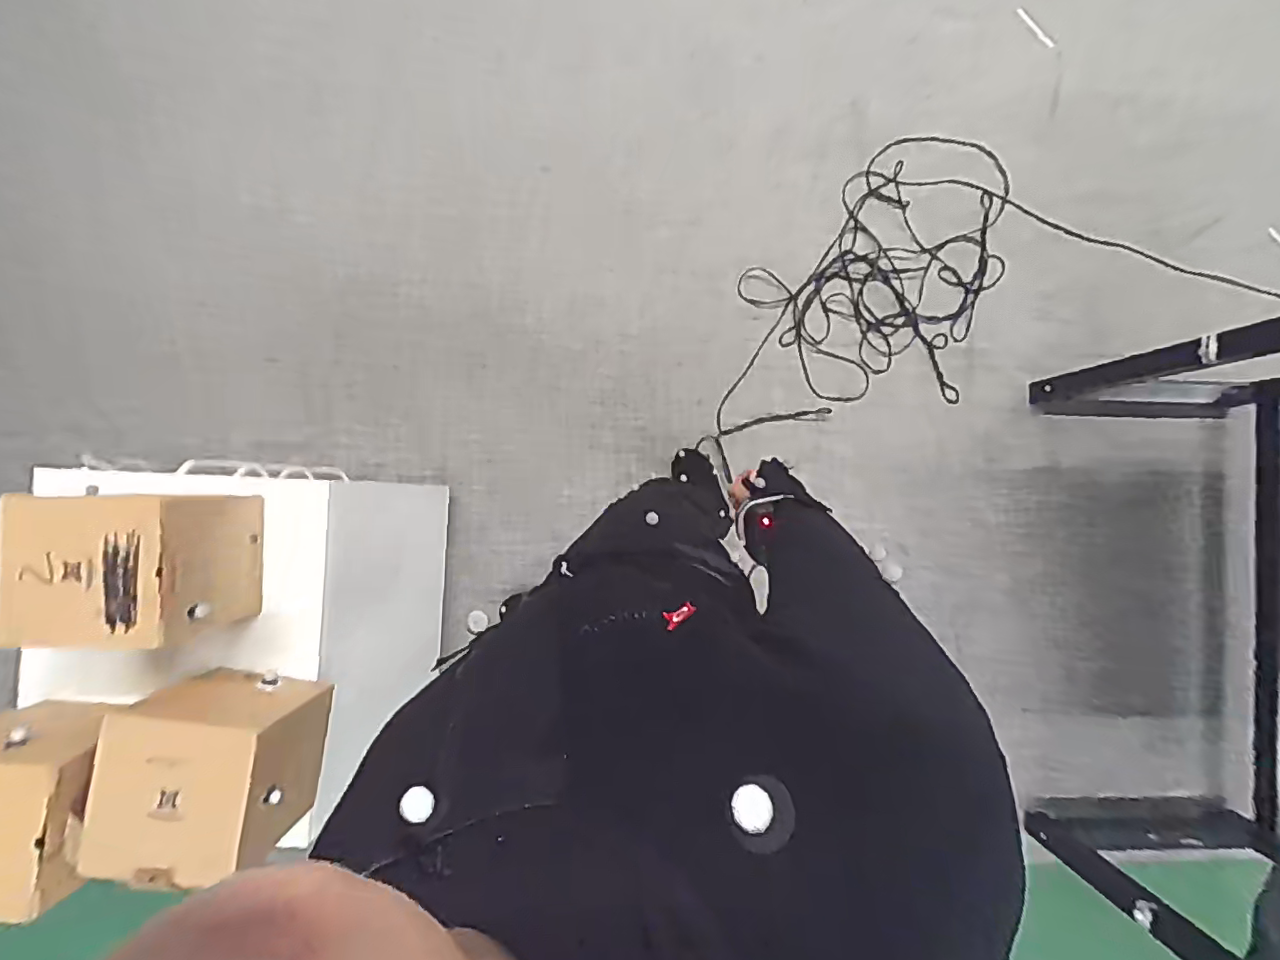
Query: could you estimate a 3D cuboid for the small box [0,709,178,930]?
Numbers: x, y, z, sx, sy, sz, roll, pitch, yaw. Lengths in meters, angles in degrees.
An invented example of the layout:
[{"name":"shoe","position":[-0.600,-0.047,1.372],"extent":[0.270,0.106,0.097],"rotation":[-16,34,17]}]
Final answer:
[{"name":"small box","position":[-0.722,0.390,0.652],"extent":[0.179,0.176,0.168],"rotation":[5,87,-4]}]
